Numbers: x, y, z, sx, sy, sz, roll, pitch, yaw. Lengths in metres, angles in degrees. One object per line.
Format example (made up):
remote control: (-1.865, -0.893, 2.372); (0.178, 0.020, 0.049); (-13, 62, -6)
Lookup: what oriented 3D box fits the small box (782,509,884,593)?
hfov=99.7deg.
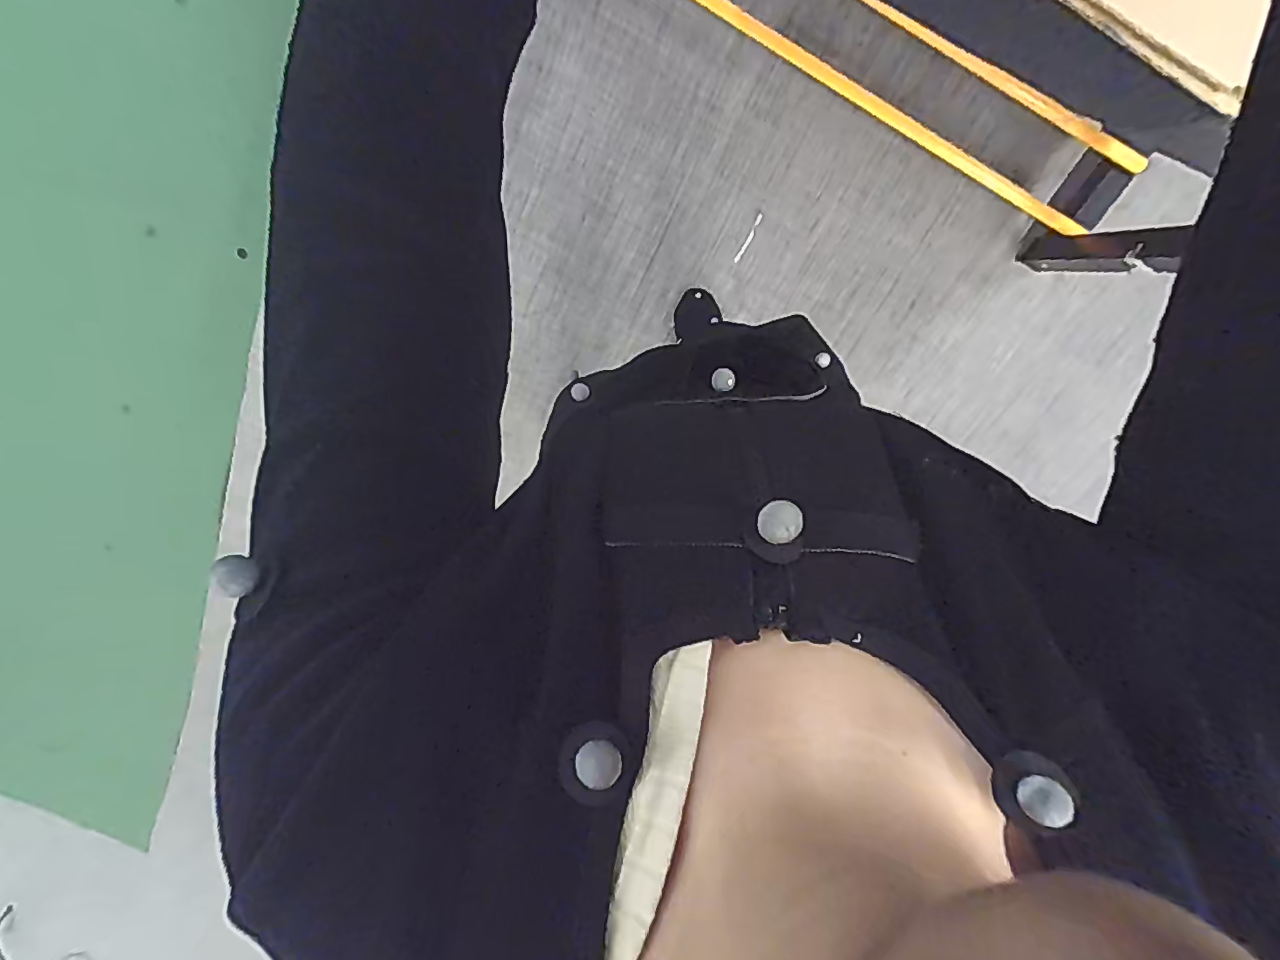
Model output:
small box: (0.477, 0.198, 1.371); (0.168, 0.176, 0.179); (22, 111, -4)

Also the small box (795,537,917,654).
small box: (0.473, 0.251, 1.216); (0.179, 0.176, 0.168); (22, 111, -3)
